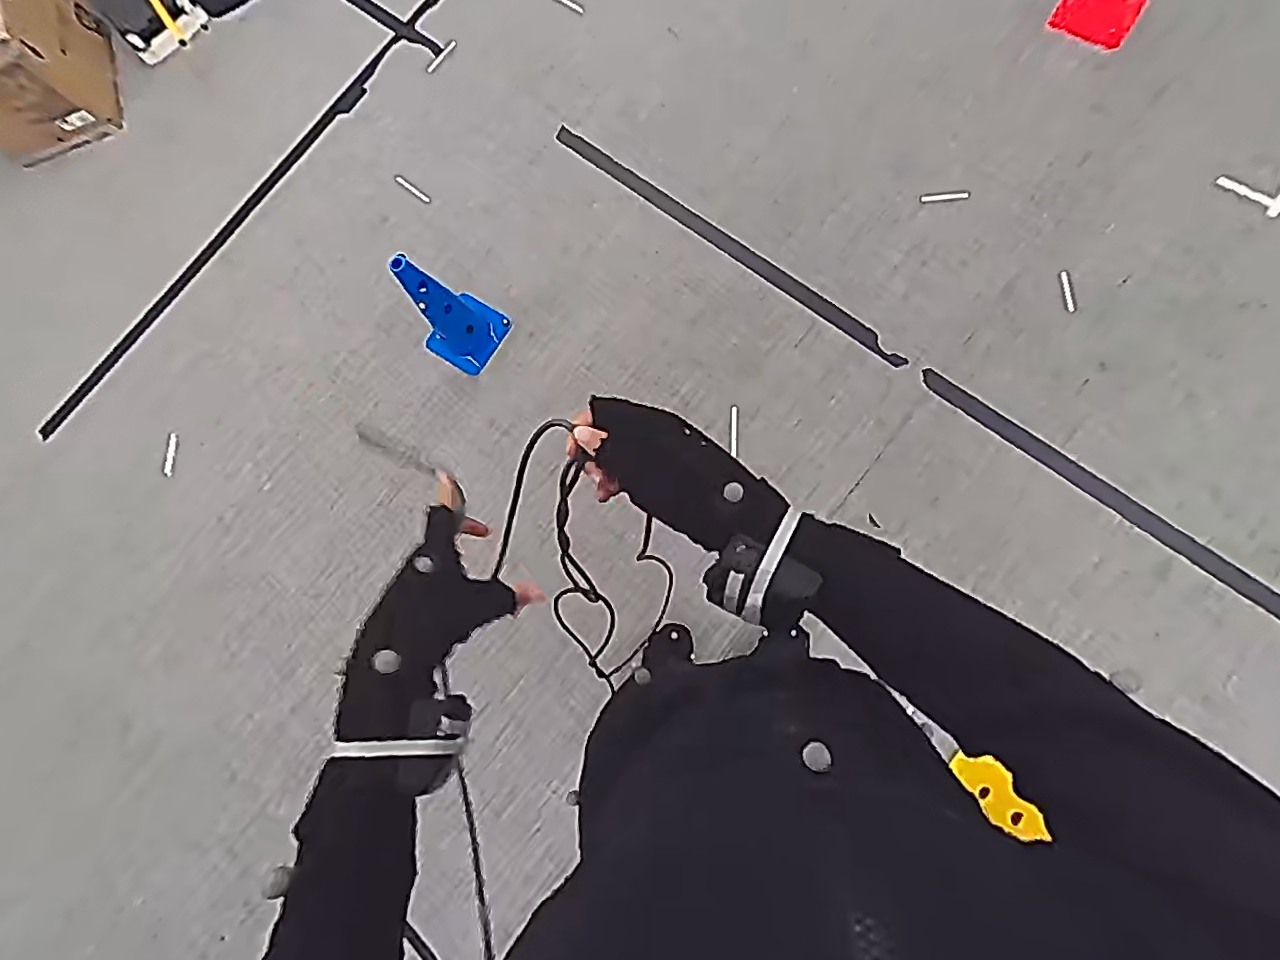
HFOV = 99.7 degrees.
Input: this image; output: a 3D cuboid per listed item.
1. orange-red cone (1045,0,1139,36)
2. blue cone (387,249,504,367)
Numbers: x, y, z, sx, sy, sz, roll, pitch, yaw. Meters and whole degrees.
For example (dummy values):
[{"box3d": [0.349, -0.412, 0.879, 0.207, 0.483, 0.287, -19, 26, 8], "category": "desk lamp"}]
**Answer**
[{"box3d": [1.215, -1.345, 1.310, 0.199, 0.360, 0.198, 34, 85, 14], "category": "orange-red cone"}, {"box3d": [-0.530, -0.460, 1.392, 0.193, 0.380, 0.192, 33, 85, 13], "category": "blue cone"}]
